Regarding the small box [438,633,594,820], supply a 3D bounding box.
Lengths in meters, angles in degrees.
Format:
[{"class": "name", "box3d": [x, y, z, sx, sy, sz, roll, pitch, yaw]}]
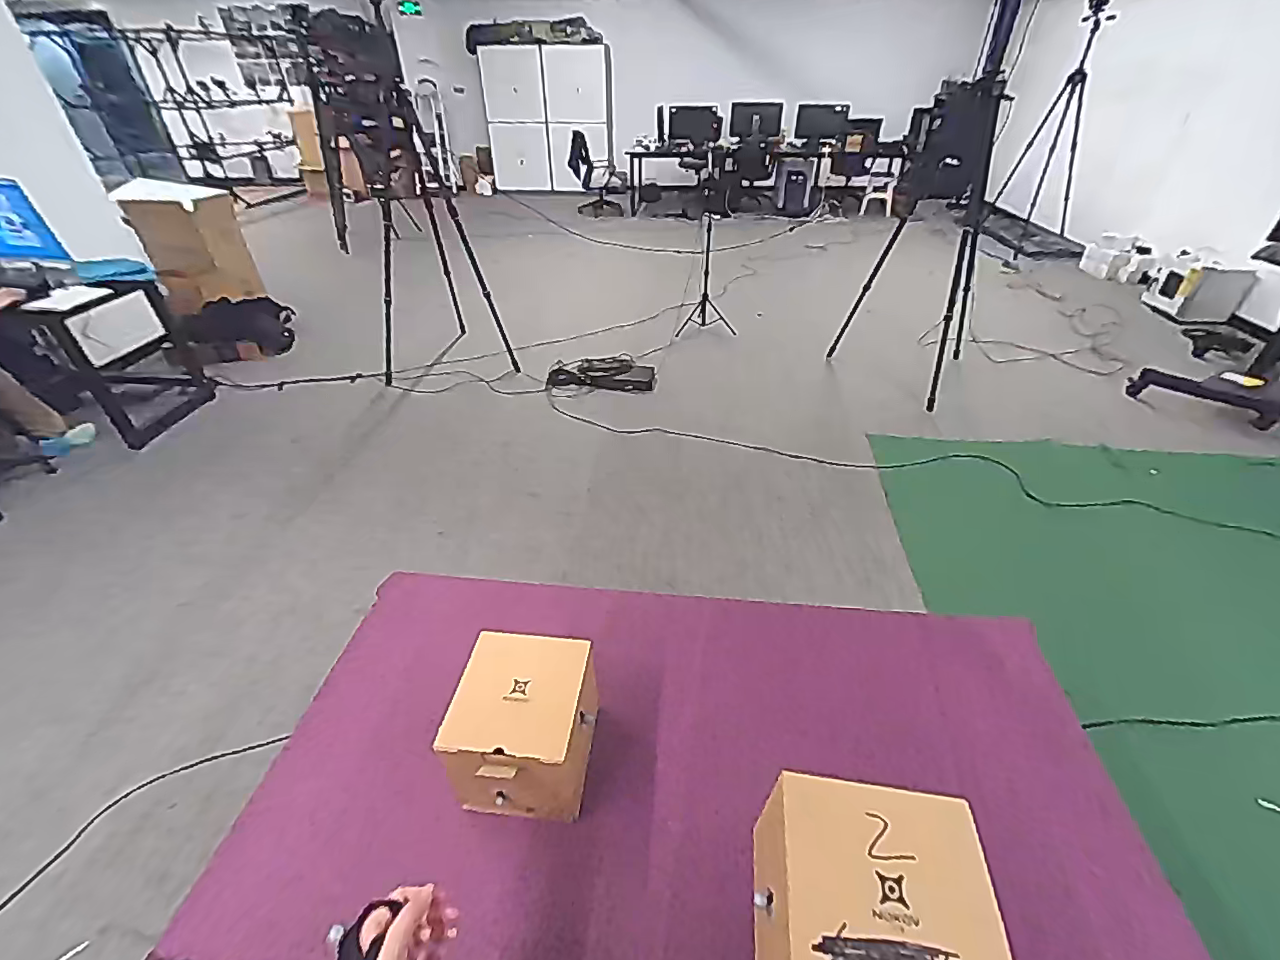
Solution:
[{"class": "small box", "box3d": [-0.162, 0.350, 0.775, 0.168, 0.176, 0.179, 4, 37, 6]}]
